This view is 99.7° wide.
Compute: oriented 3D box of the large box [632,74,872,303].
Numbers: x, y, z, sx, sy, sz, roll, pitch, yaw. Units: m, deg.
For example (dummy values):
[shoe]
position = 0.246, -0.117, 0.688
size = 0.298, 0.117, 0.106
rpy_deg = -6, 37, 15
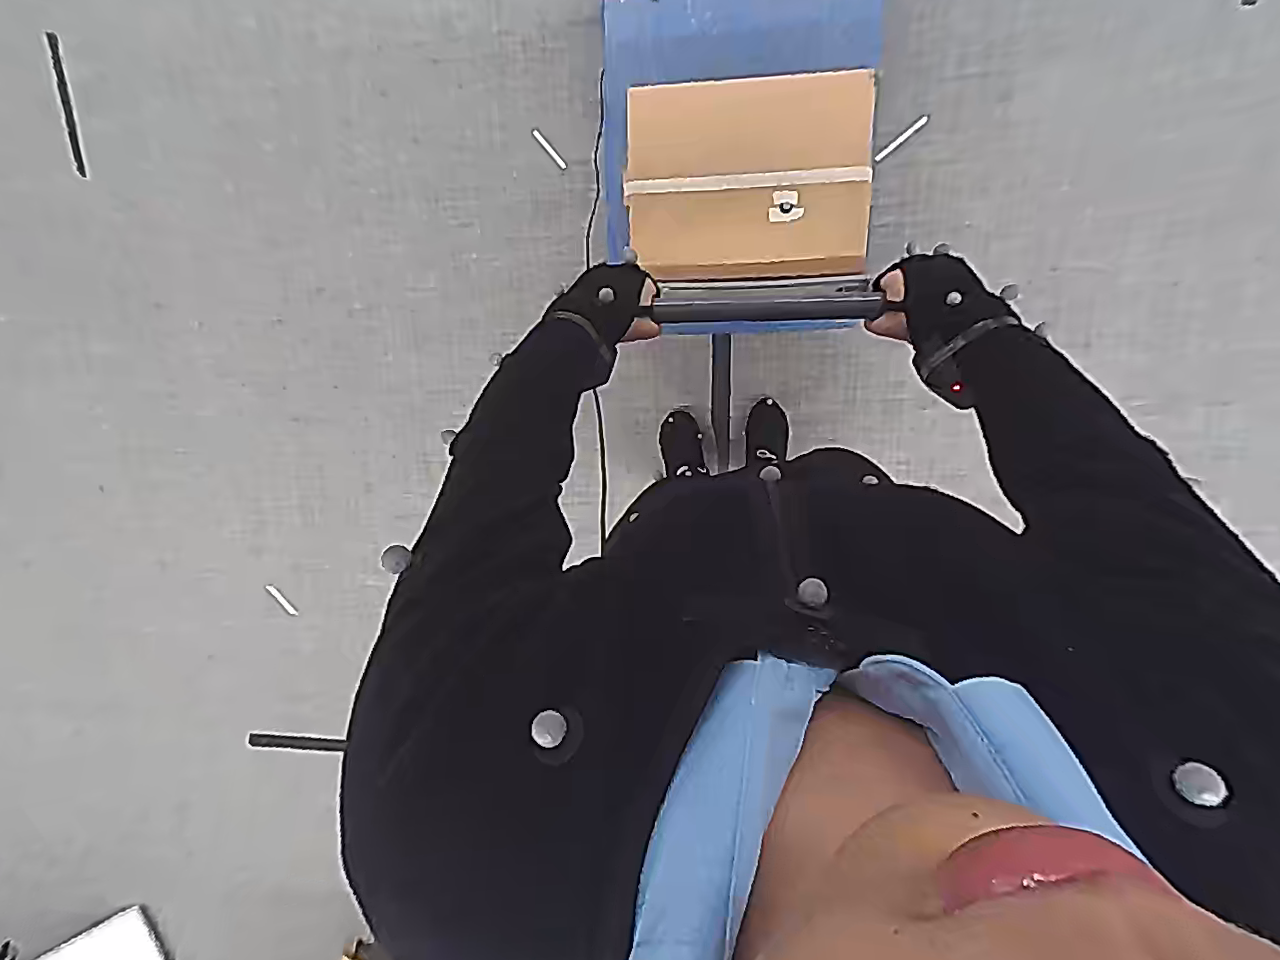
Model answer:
[large box]
position = 0.201, -0.541, 1.078
size = 0.408, 0.320, 0.320
rpy_deg = 0, 102, 6
